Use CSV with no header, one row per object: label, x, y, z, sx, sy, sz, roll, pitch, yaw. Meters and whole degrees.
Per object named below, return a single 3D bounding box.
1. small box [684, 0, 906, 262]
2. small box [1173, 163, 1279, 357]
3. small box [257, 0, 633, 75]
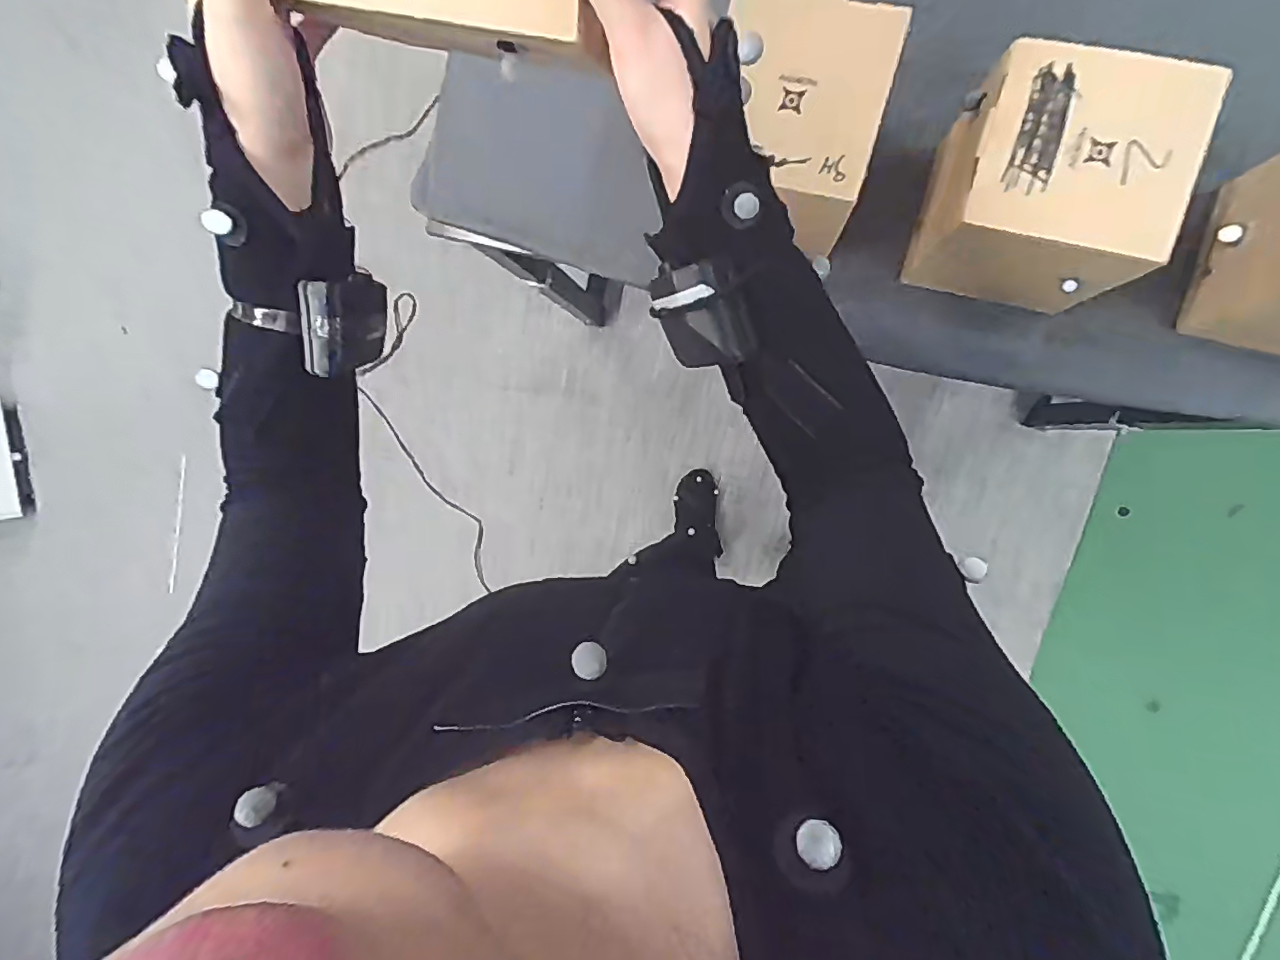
small box,0.154,-0.365,0.585,0.168,0.176,0.179,17,96,9
small box,0.676,-0.214,0.500,0.179,0.176,0.168,16,94,10
small box,-0.091,-0.325,0.276,0.179,0.176,0.168,12,122,3
